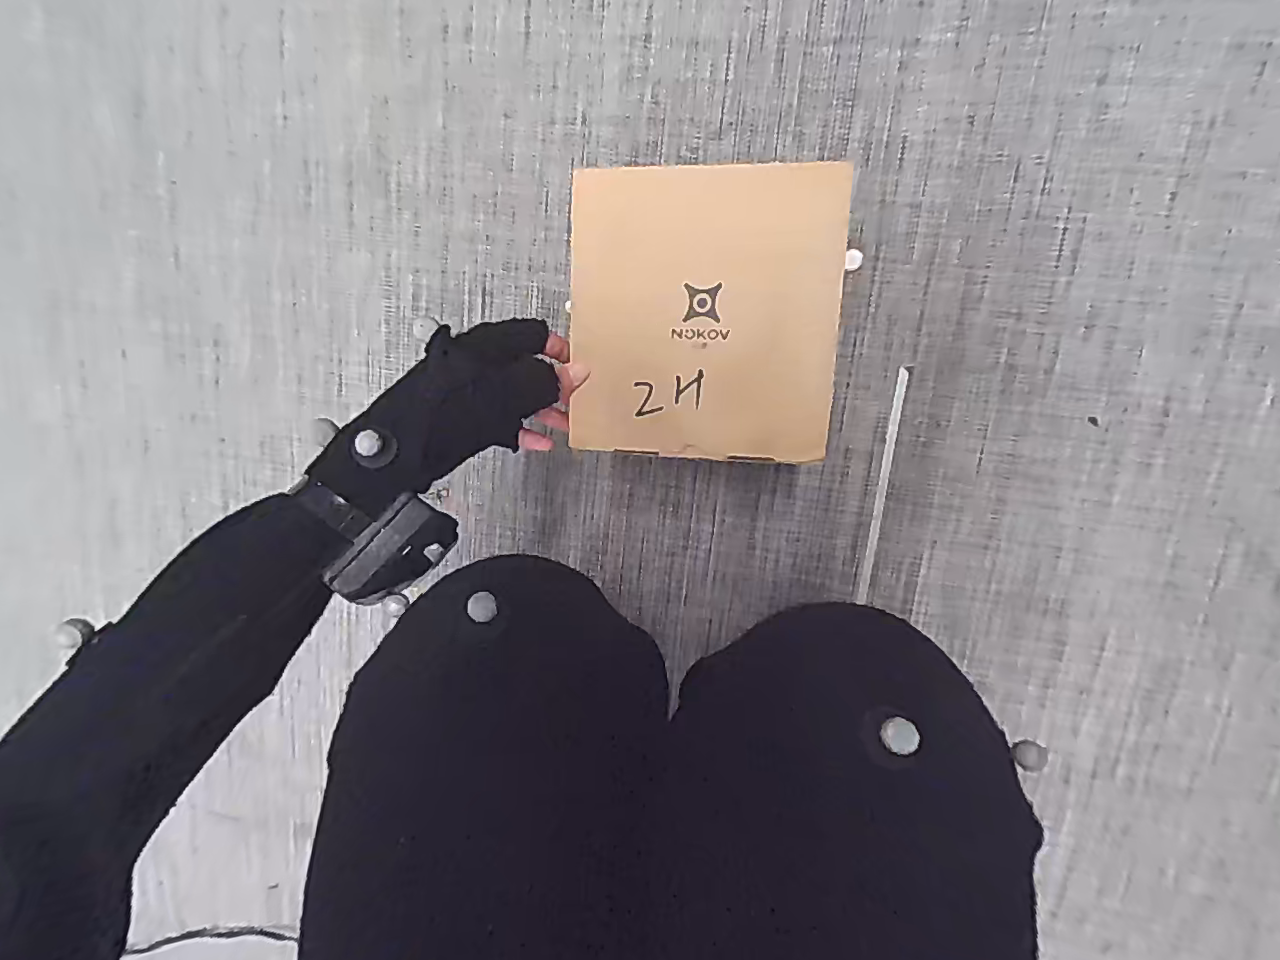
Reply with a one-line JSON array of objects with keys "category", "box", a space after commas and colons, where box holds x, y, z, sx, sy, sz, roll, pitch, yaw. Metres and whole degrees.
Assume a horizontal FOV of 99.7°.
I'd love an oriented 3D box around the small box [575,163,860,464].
[{"category": "small box", "box": [0.054, -0.113, 0.412, 0.168, 0.176, 0.179, 4, 100, 9]}]
